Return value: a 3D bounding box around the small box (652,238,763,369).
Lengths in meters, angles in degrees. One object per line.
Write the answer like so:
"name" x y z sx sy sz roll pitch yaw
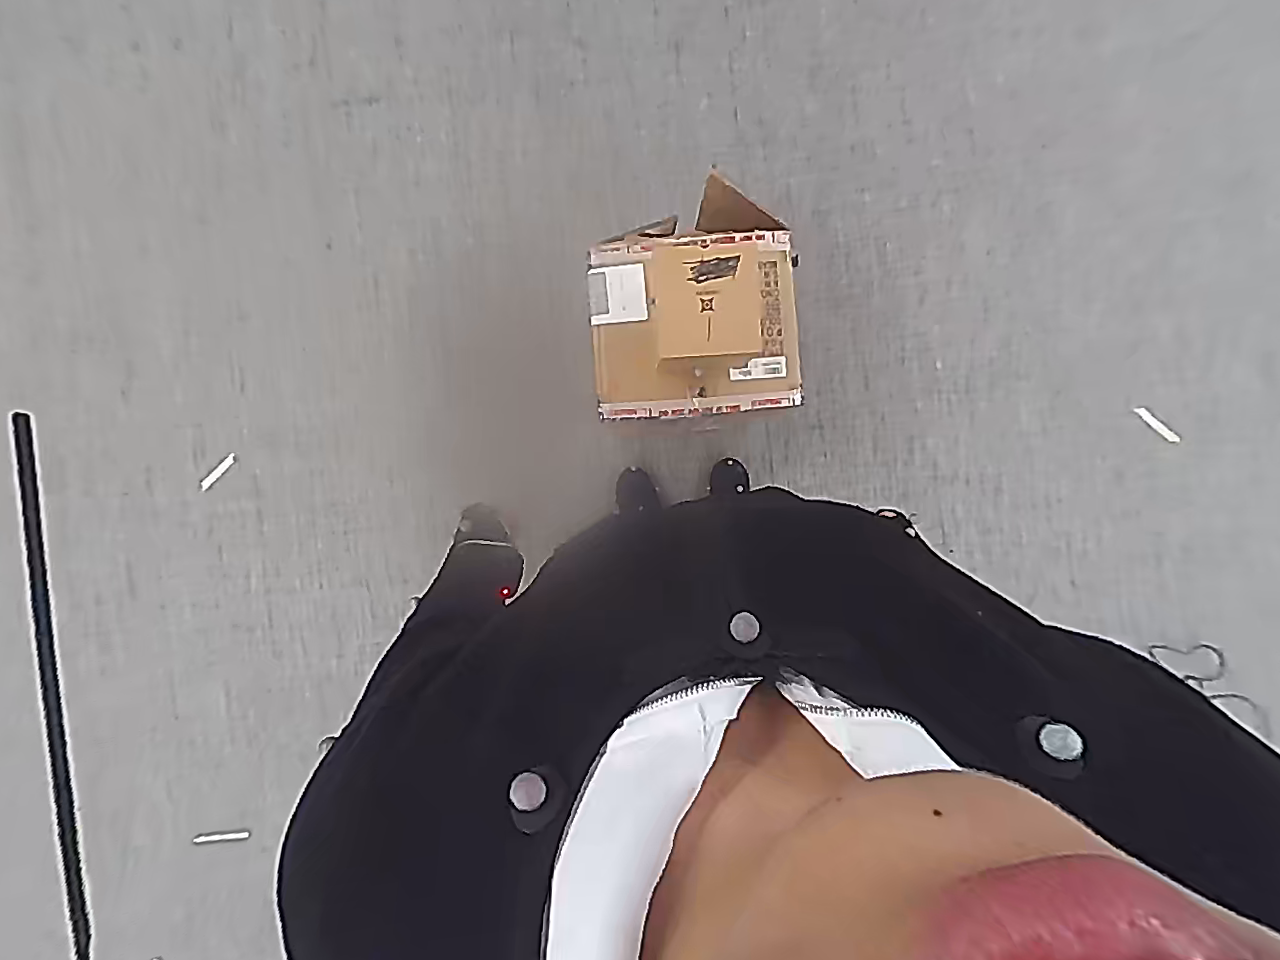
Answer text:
"small box" 0.108 -0.294 0.929 0.168 0.176 0.179 -4 94 0
